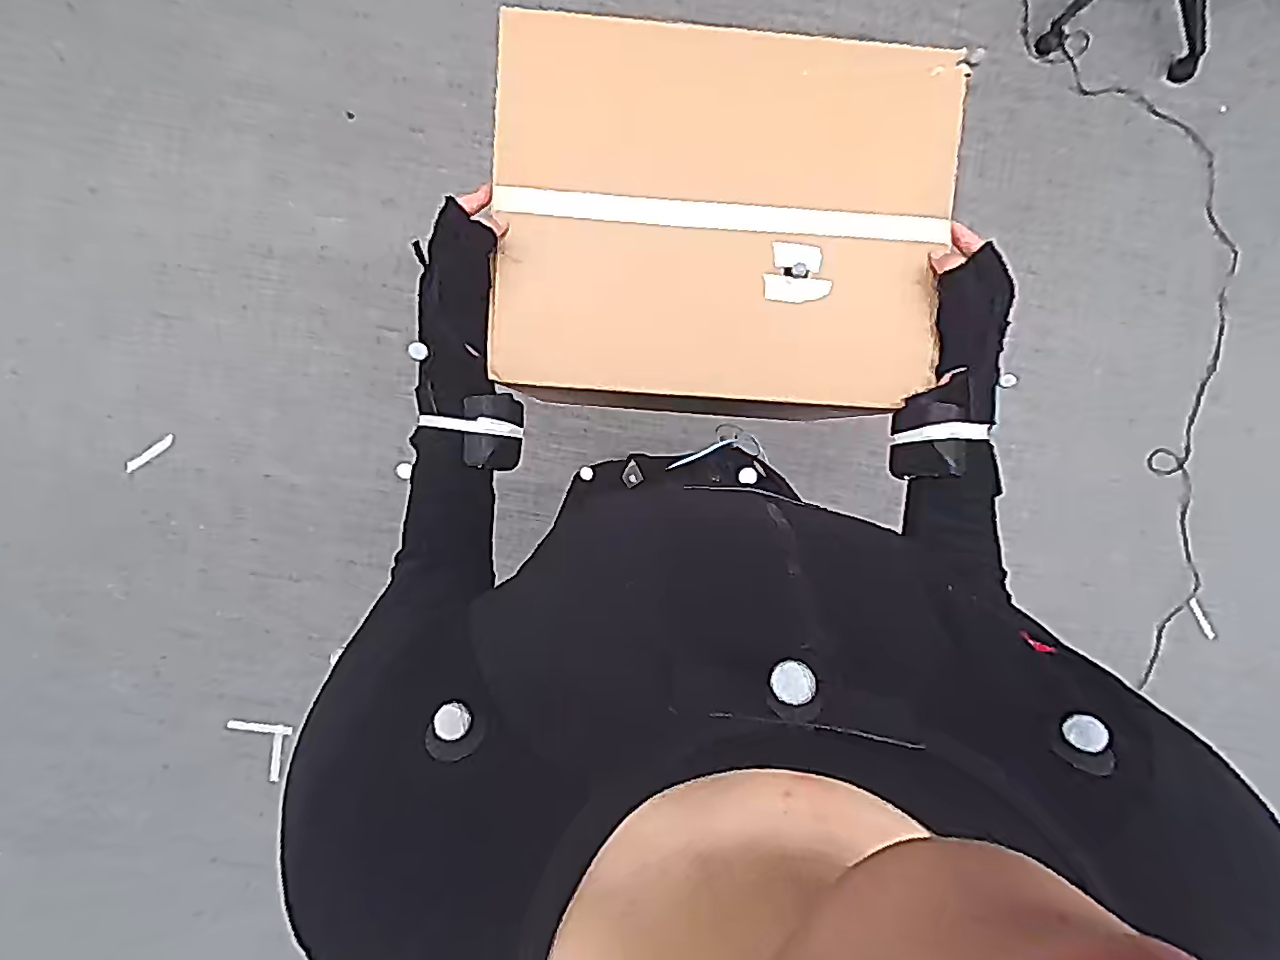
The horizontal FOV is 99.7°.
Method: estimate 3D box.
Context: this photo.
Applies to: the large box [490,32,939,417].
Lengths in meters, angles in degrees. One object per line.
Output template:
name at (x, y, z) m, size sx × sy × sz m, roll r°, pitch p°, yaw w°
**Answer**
large box at (0.058, -0.241, 0.637) m, size 0.408 × 0.320 × 0.320 m, roll 3°, pitch 96°, yaw -3°
